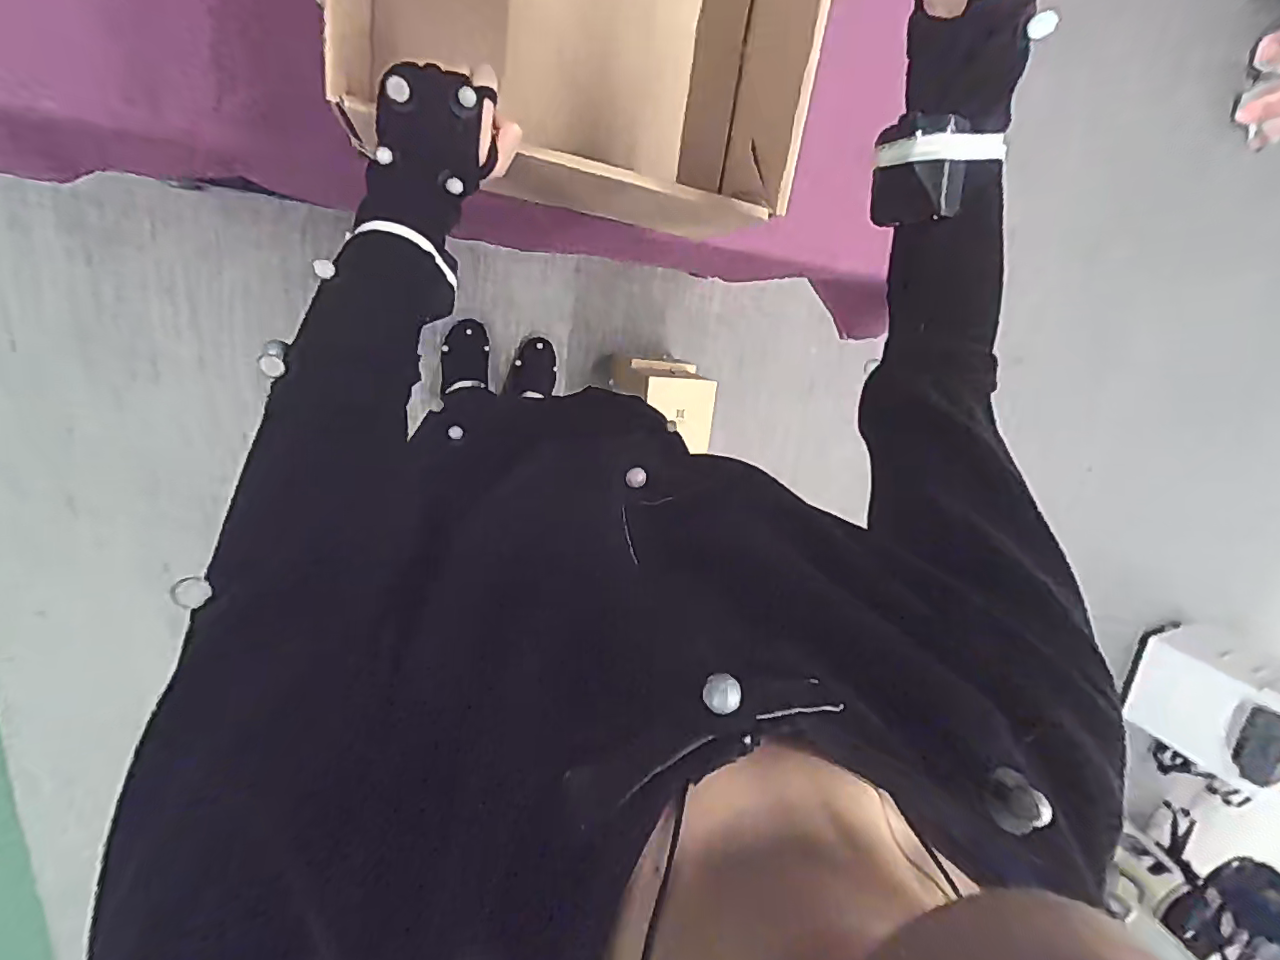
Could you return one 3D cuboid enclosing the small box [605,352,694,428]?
[{"bbox_3d":[0.020,-0.241,1.428,0.179,0.176,0.168,1,108,-19],"label":"small box"}]
